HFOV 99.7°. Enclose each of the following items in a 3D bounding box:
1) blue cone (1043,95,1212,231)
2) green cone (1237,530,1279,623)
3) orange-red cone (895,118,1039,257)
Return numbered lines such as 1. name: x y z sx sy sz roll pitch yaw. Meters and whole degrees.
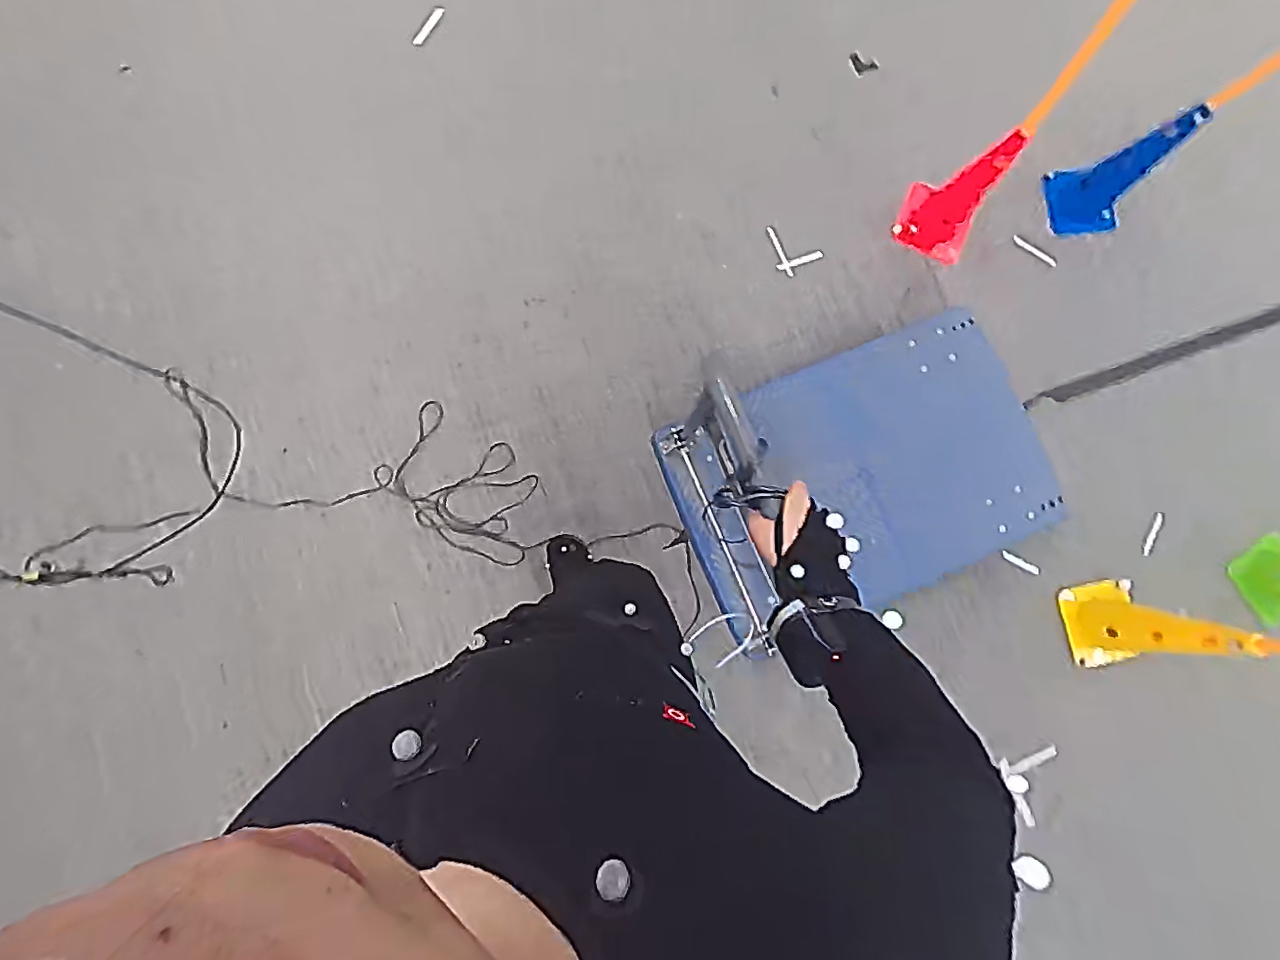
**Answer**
1. blue cone: 1.288 -0.842 1.415 0.192 0.380 0.193 -5 84 -3
2. green cone: 1.747 0.240 1.295 0.202 0.368 0.200 -34 86 -5
3. orange-red cone: 0.853 -0.767 1.366 0.199 0.360 0.198 25 83 -1
